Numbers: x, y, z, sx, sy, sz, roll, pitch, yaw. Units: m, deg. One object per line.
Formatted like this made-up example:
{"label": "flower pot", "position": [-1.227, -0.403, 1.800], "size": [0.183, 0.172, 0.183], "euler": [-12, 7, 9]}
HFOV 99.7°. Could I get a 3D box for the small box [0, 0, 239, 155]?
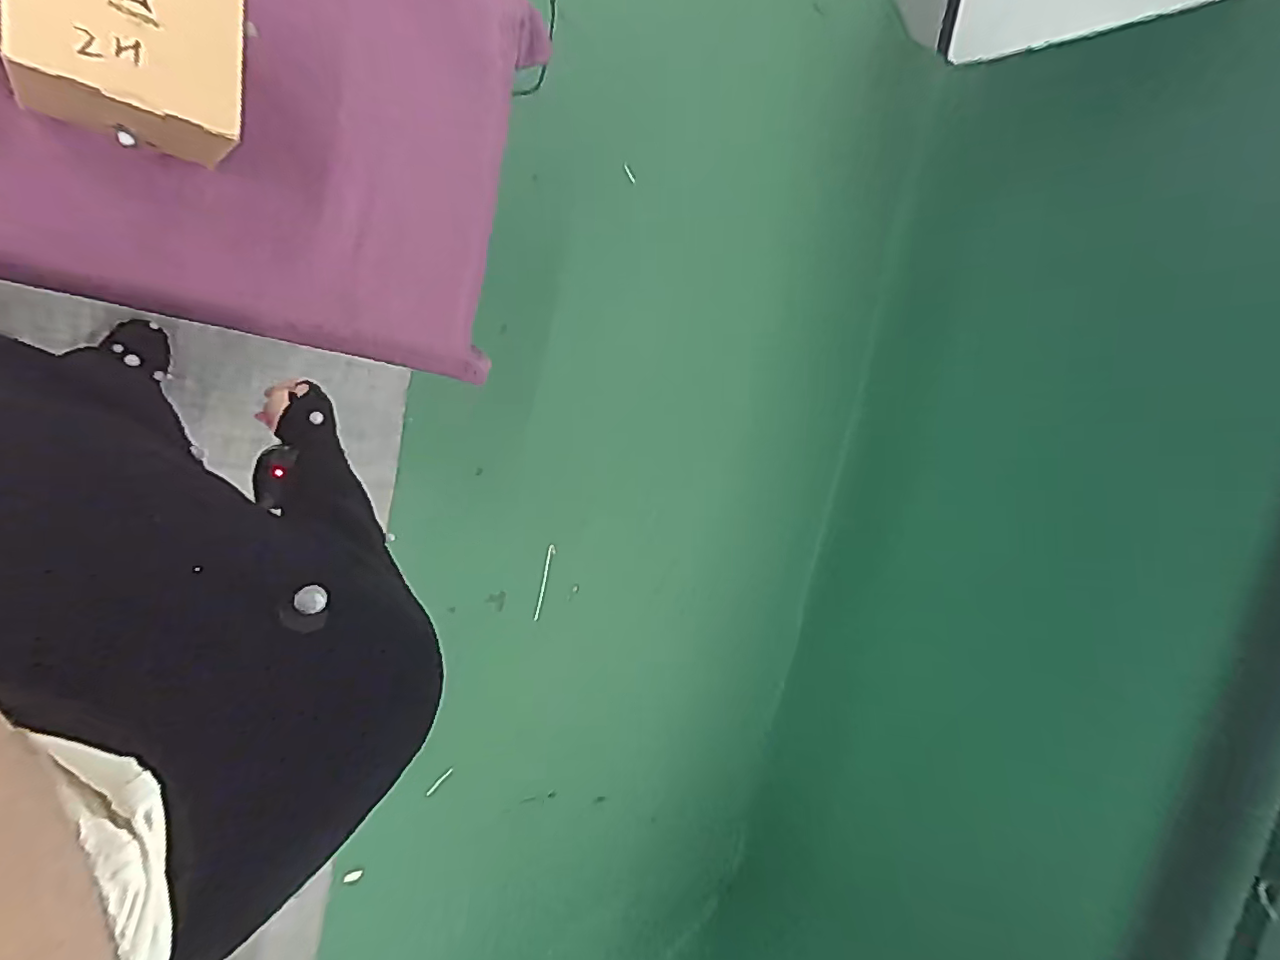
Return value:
{"label": "small box", "position": [-0.529, -0.467, 0.550], "size": [0.168, 0.176, 0.179], "euler": [-1, 104, -46]}
